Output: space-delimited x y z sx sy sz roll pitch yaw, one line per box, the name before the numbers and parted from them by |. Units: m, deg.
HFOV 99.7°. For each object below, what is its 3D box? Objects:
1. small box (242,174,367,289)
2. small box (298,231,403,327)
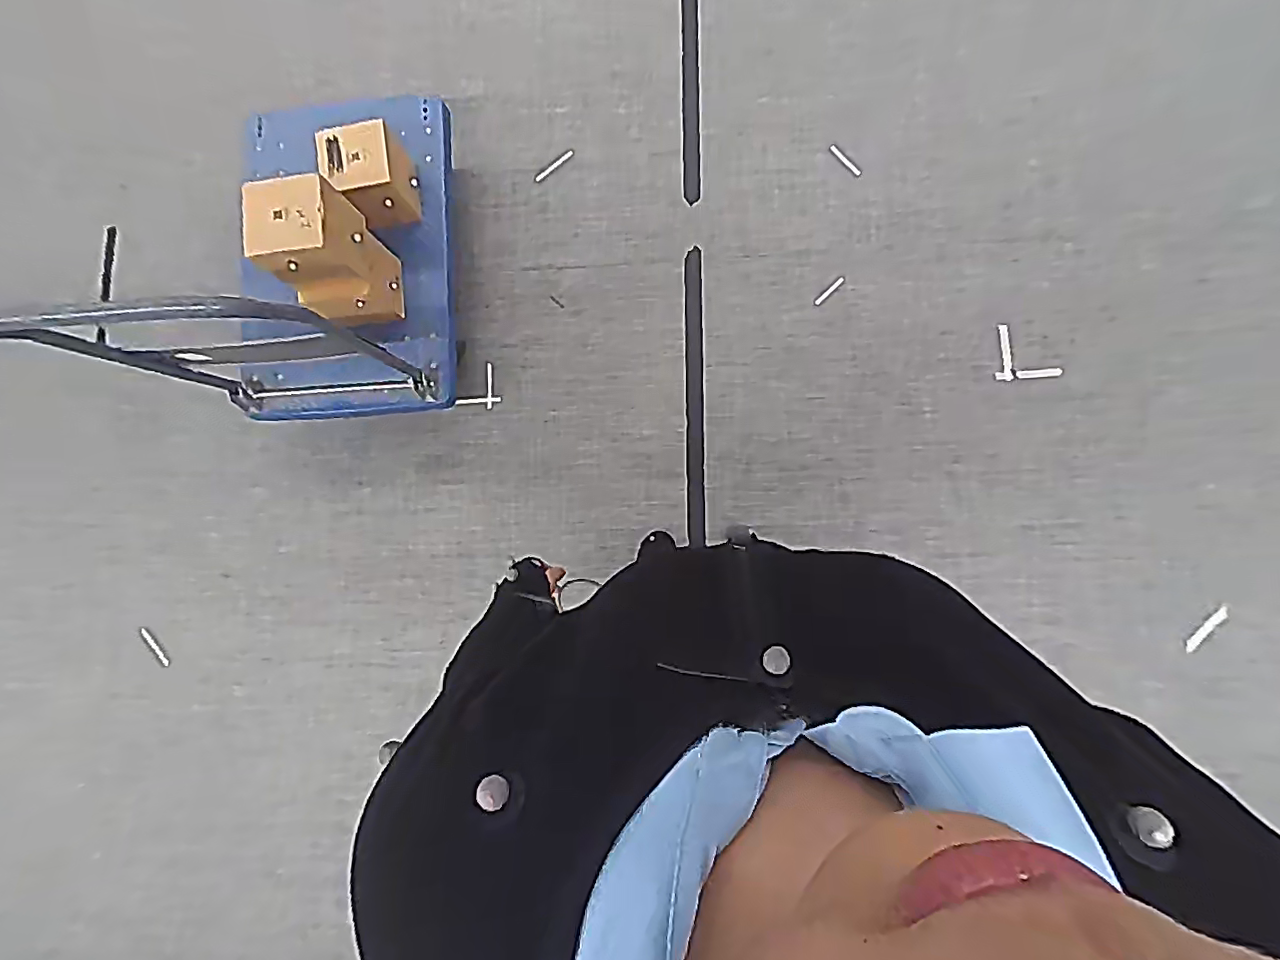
small box | -0.737 -0.540 1.198 0.179 0.176 0.168 -6 85 3
small box | -0.724 -0.499 1.359 0.179 0.176 0.168 -7 84 3
